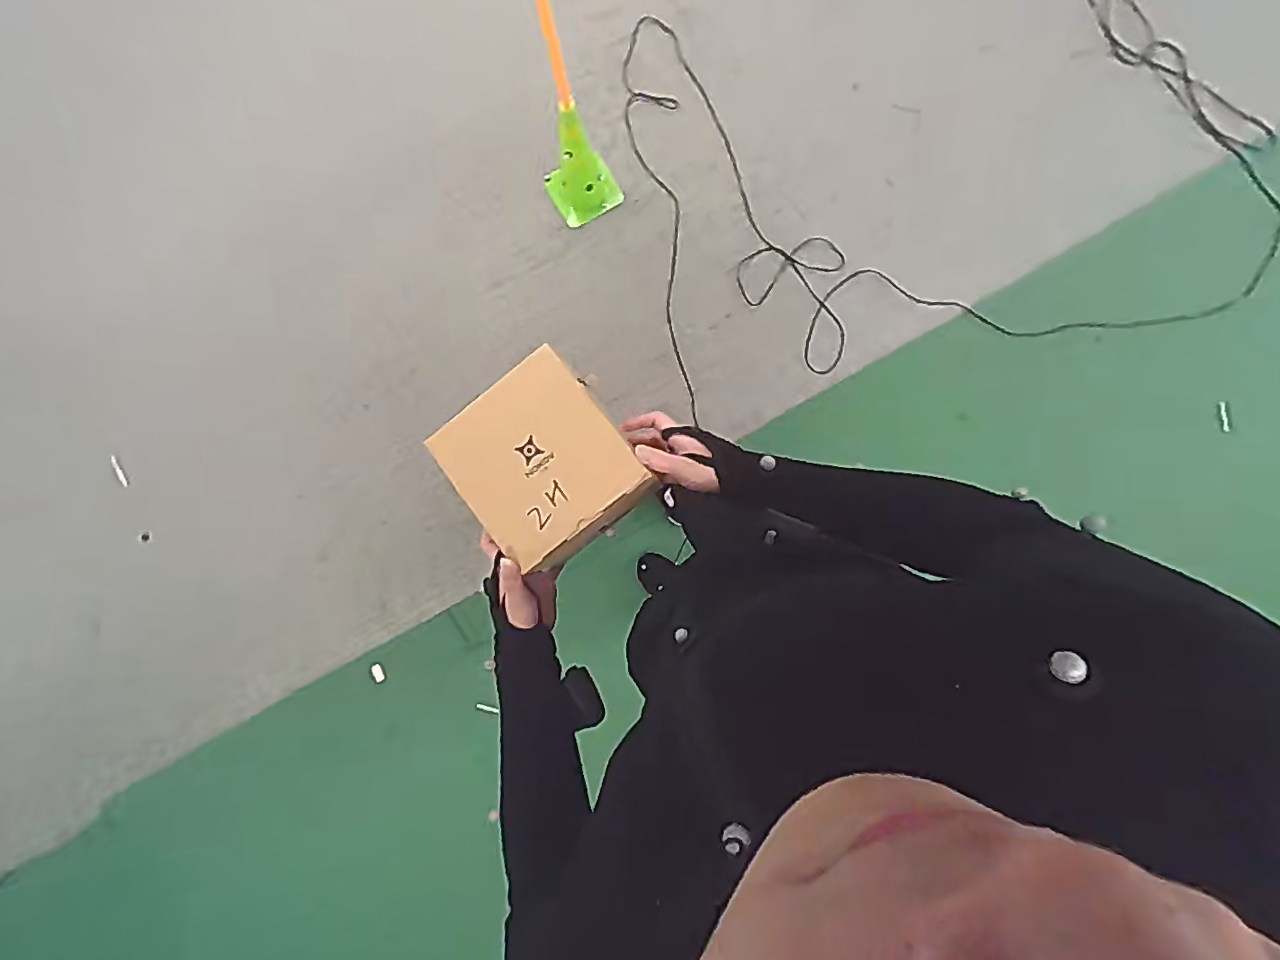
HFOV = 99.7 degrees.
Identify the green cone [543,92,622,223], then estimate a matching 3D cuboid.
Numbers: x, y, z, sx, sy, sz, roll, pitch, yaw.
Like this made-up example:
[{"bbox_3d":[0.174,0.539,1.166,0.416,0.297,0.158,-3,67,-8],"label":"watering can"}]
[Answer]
[{"bbox_3d":[-0.183,-0.952,1.553,0.202,0.368,0.200,-30,87,-3],"label":"green cone"}]
